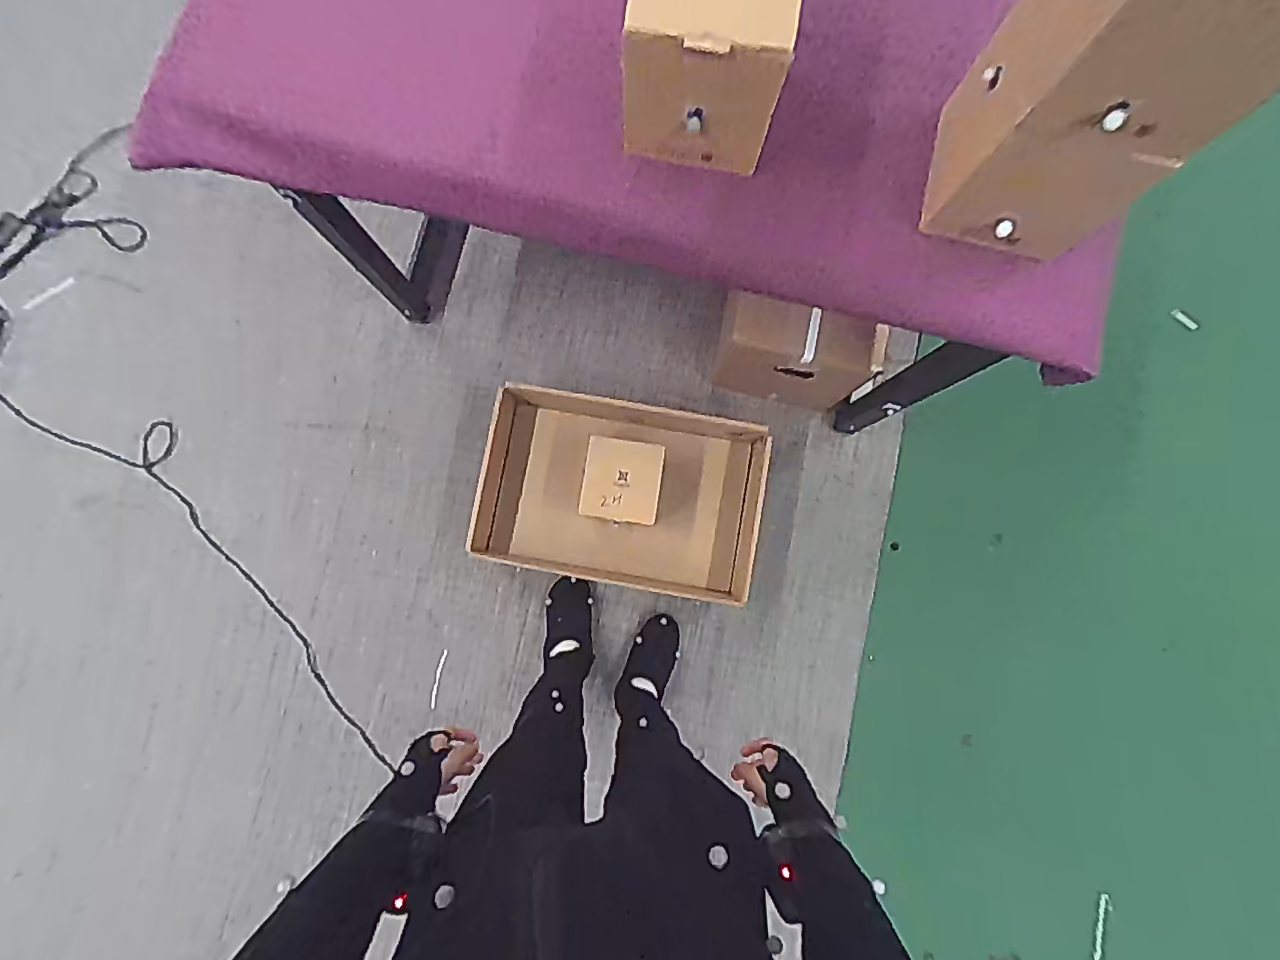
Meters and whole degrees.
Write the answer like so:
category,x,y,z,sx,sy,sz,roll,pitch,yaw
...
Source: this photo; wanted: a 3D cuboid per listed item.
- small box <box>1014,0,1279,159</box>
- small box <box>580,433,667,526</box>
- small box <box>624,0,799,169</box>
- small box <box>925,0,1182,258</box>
category,x,y,z,sx,sy,sz,roll,pitch,yaw
small box,0.443,-0.408,0.438,0.168,0.176,0.179,11,82,2
small box,-0.037,0.005,1.228,0.168,0.176,0.179,9,84,1
small box,0.079,-0.489,0.607,0.168,0.176,0.179,10,83,0
small box,0.446,-0.384,0.599,0.168,0.176,0.179,14,83,2
